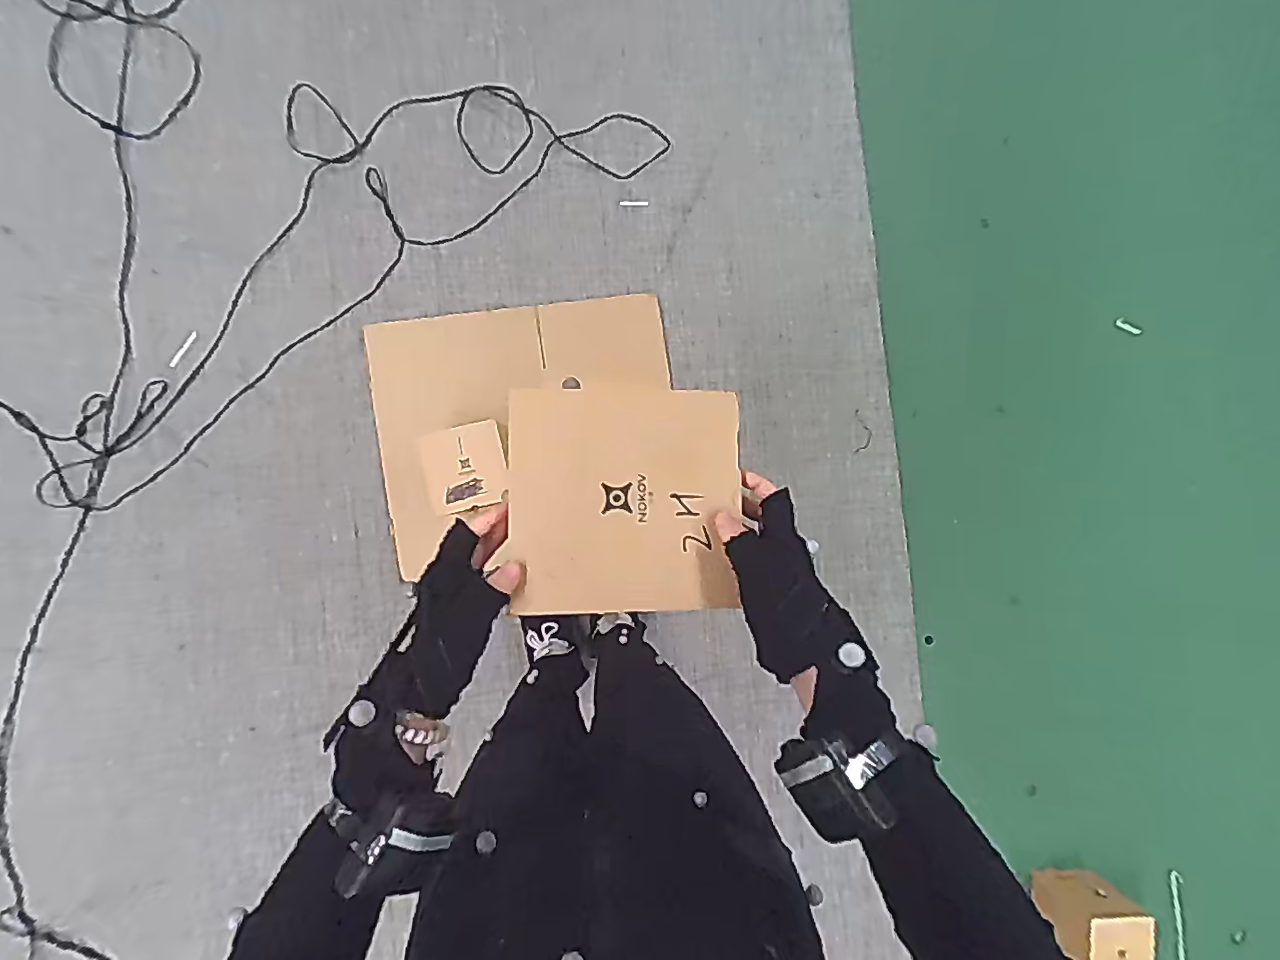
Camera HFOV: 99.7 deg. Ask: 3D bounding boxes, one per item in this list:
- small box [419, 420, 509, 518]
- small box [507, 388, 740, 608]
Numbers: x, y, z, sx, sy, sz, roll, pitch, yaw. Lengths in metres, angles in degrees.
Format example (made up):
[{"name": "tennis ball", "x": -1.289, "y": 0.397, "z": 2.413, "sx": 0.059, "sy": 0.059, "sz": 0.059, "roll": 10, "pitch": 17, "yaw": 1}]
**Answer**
[{"name": "small box", "x": -0.360, "y": -0.023, "z": 1.187, "sx": 0.168, "sy": 0.176, "sz": 0.179, "roll": -13, "pitch": 90, "yaw": -5}, {"name": "small box", "x": -0.018, "y": 0.017, "z": 0.484, "sx": 0.179, "sy": 0.176, "sz": 0.168, "roll": -1, "pitch": 88, "yaw": -6}]
